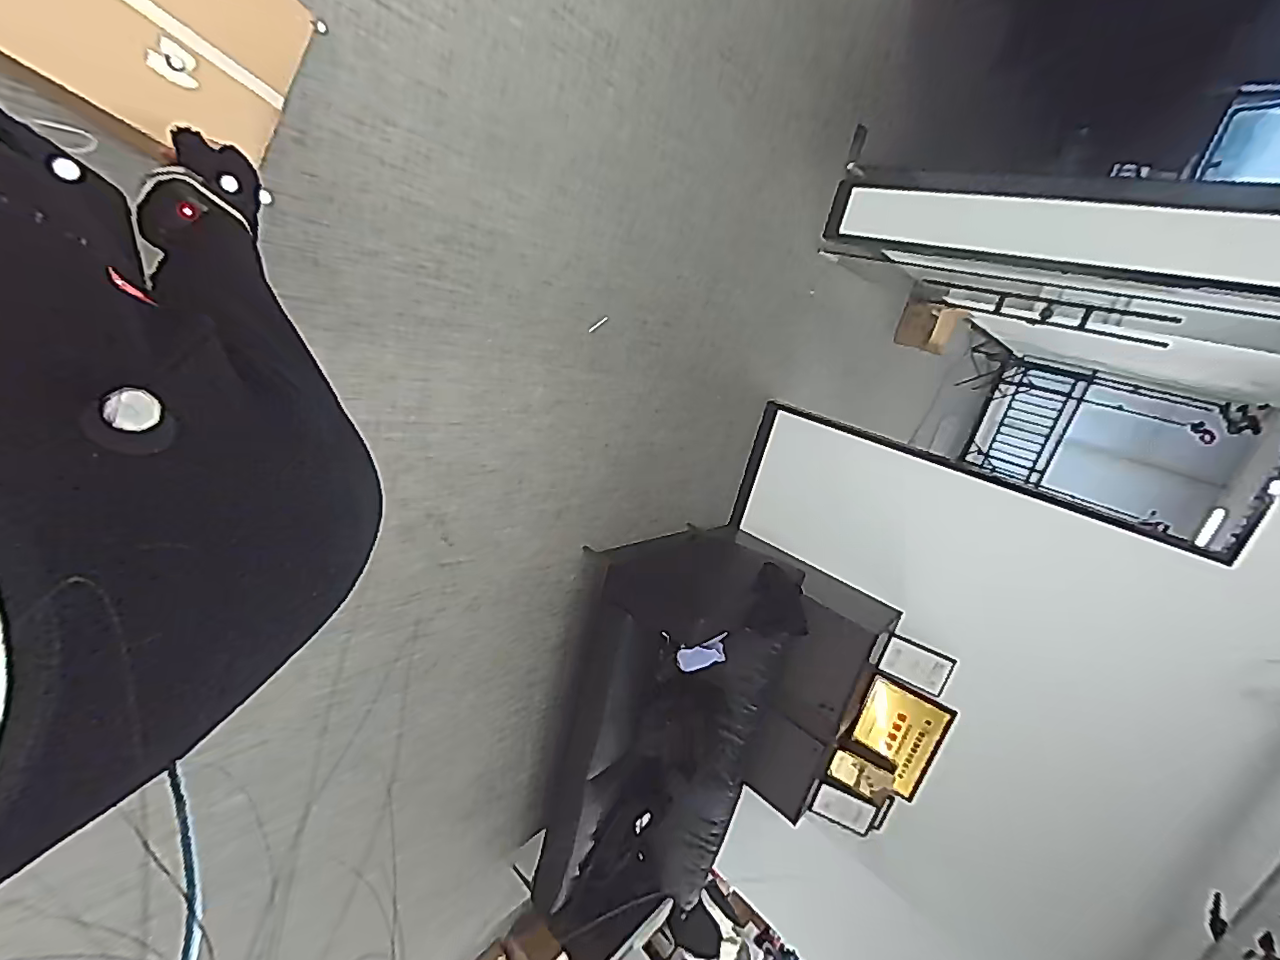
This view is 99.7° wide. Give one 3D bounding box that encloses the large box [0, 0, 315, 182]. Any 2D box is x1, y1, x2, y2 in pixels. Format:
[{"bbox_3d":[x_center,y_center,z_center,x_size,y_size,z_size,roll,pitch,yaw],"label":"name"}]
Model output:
[{"bbox_3d":[-0.823,-0.735,0.837,0.408,0.320,0.320,20,96,-56],"label":"large box"}]
